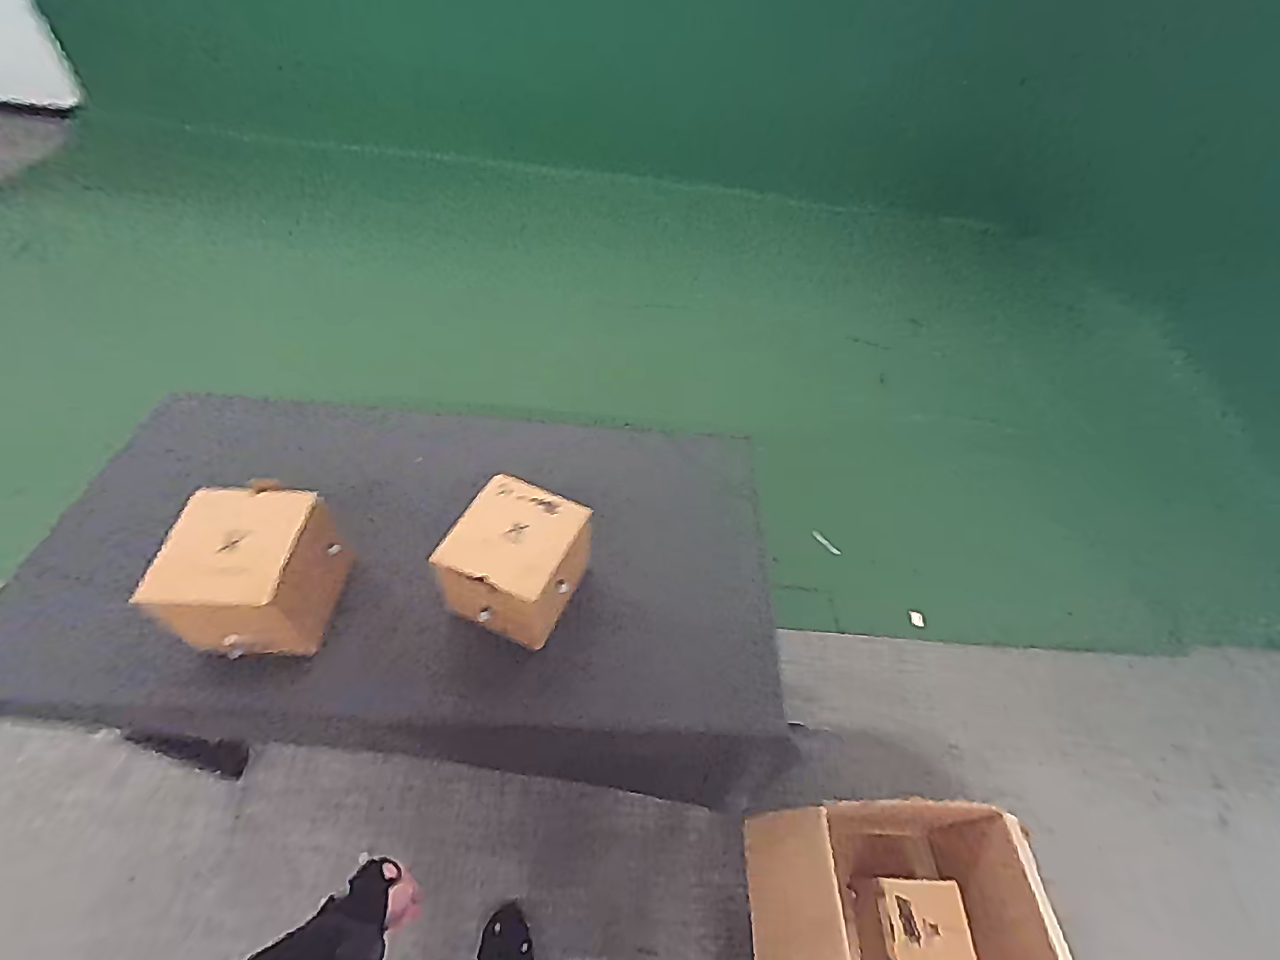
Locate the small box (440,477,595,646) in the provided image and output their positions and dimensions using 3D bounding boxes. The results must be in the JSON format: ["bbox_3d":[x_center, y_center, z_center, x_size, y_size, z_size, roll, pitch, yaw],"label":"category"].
[{"bbox_3d":[-0.180,0.132,0.851,0.168,0.176,0.179,22,52,11],"label":"small box"}]

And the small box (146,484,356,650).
[{"bbox_3d":[-0.542,0.128,0.789,0.168,0.176,0.179,3,51,-4],"label":"small box"}]
